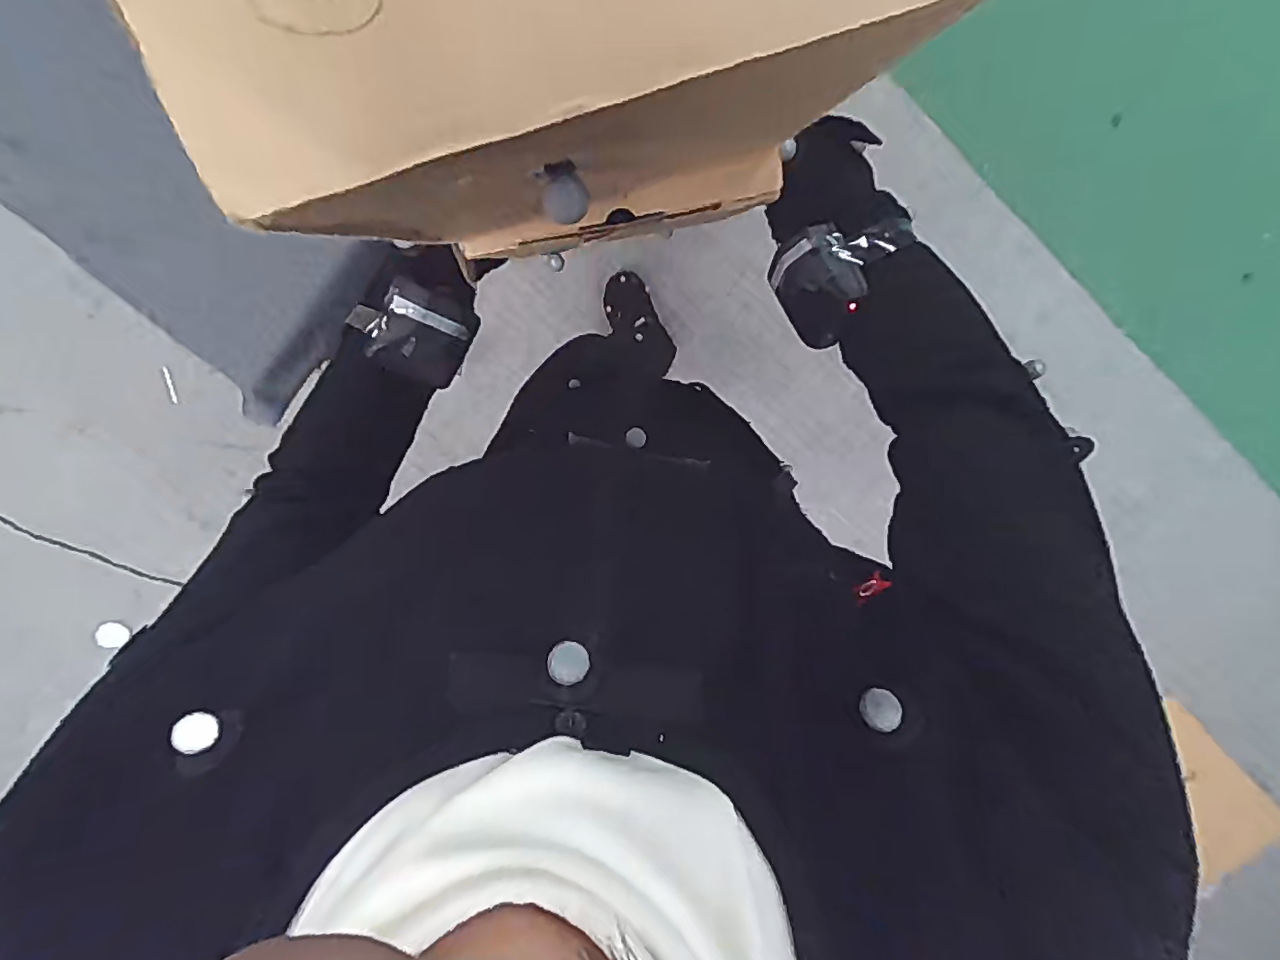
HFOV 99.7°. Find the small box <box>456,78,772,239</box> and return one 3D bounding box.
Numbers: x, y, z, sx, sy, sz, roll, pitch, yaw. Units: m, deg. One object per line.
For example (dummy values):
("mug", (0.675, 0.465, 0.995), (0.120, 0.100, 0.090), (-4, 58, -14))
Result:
("small box", (-0.032, -0.252, 0.315), (0.168, 0.176, 0.179), (-13, 113, 4))
